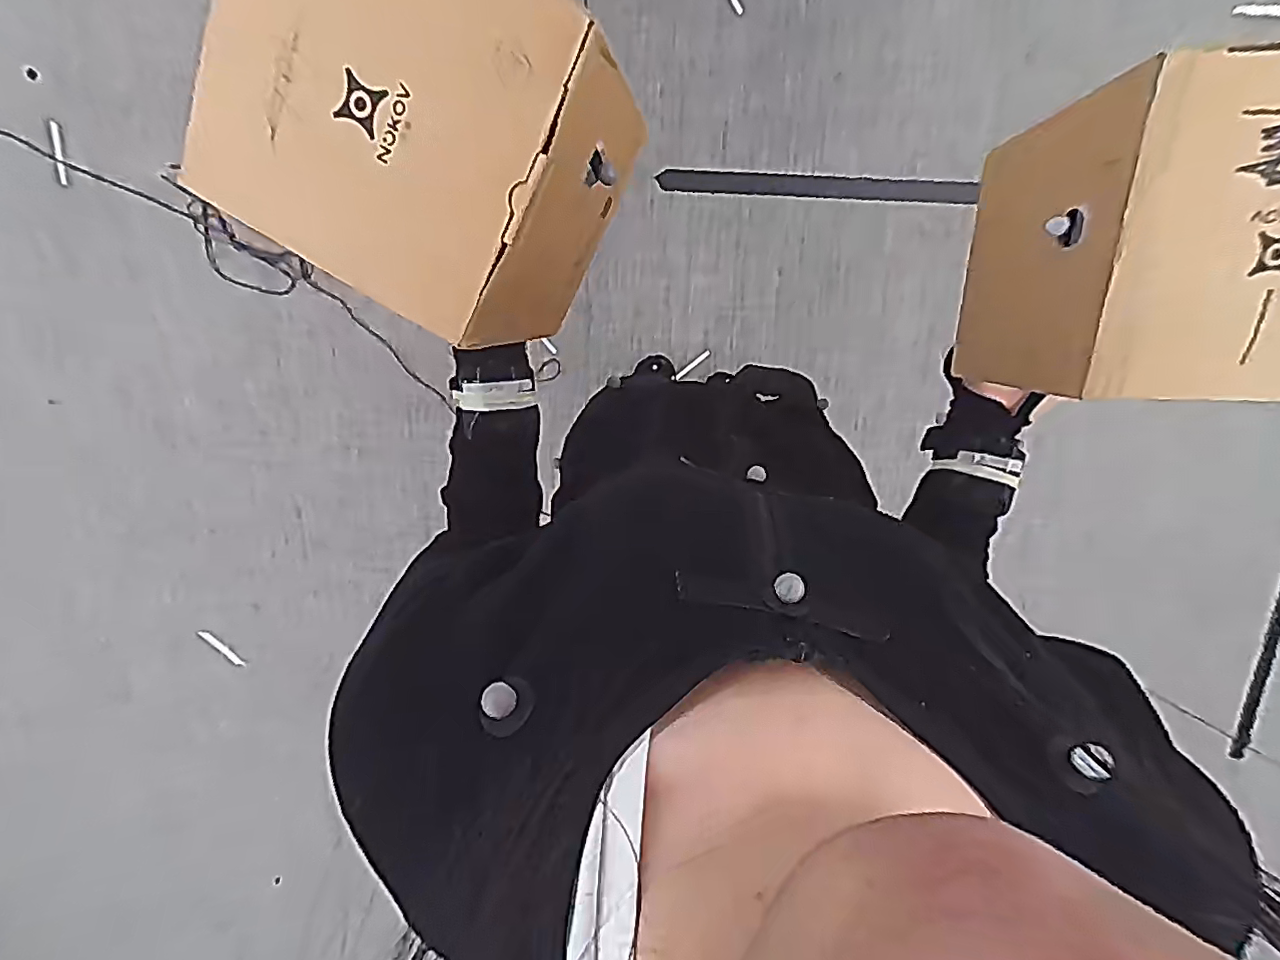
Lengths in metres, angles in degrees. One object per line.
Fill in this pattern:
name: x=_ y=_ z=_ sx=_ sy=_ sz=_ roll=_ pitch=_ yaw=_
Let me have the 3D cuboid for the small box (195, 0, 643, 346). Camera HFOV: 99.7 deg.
small box: x=-0.114 y=-0.204 z=0.341 sx=0.179 sy=0.176 sz=0.168 roll=30 pitch=109 yaw=0

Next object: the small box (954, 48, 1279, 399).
small box: x=0.345 y=-0.153 z=0.369 sx=0.168 sy=0.176 sz=0.179 roll=2 pitch=106 yaw=4
